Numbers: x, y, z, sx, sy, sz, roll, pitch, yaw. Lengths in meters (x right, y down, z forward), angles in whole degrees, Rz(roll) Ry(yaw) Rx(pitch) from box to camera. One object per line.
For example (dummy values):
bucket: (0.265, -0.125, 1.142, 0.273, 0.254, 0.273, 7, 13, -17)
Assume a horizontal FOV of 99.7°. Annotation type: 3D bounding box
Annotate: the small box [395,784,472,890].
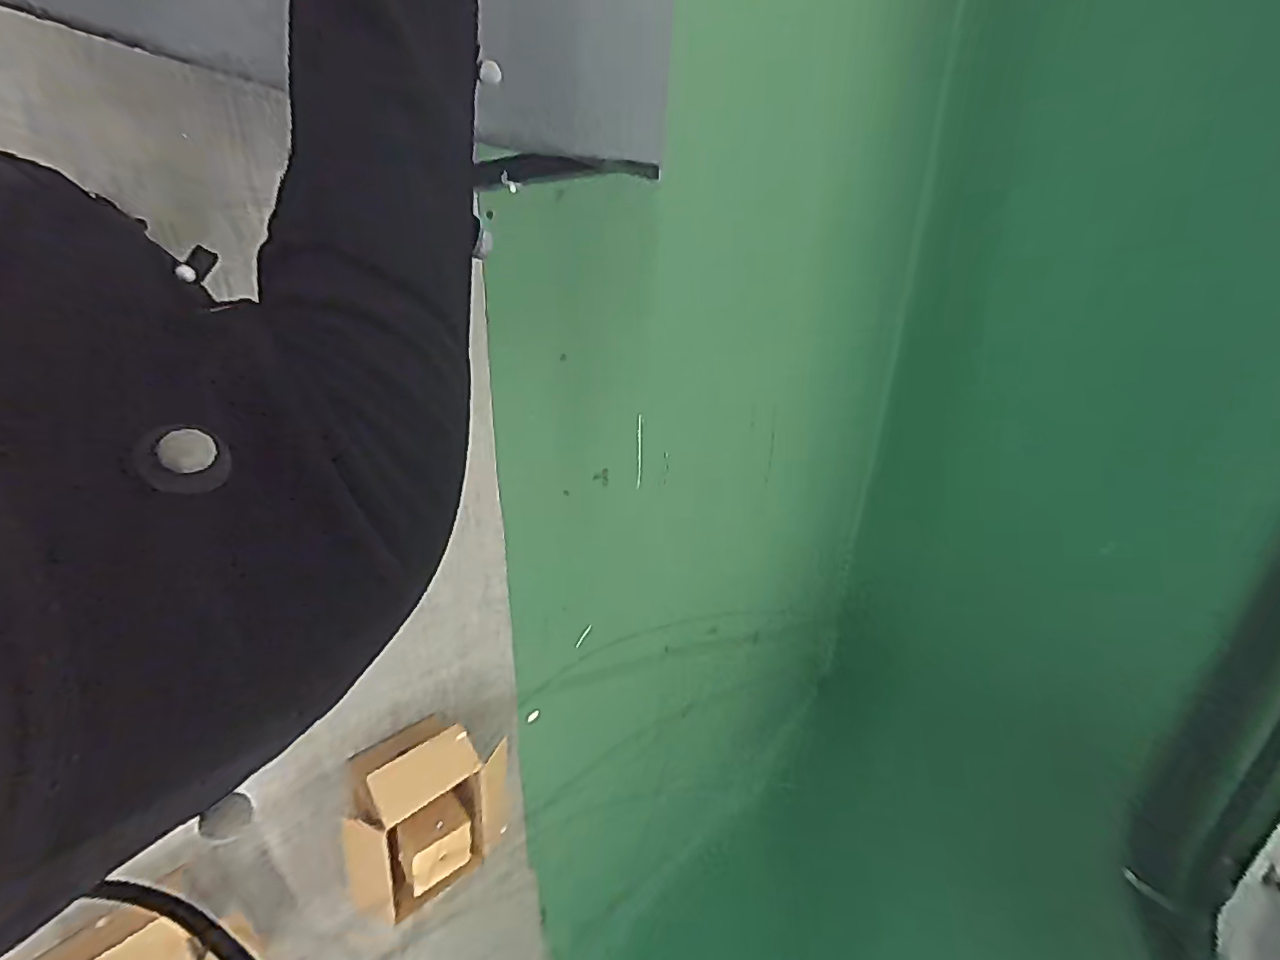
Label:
small box: (-0.641, 1.091, 1.667, 0.179, 0.176, 0.168, -14, 117, -43)
